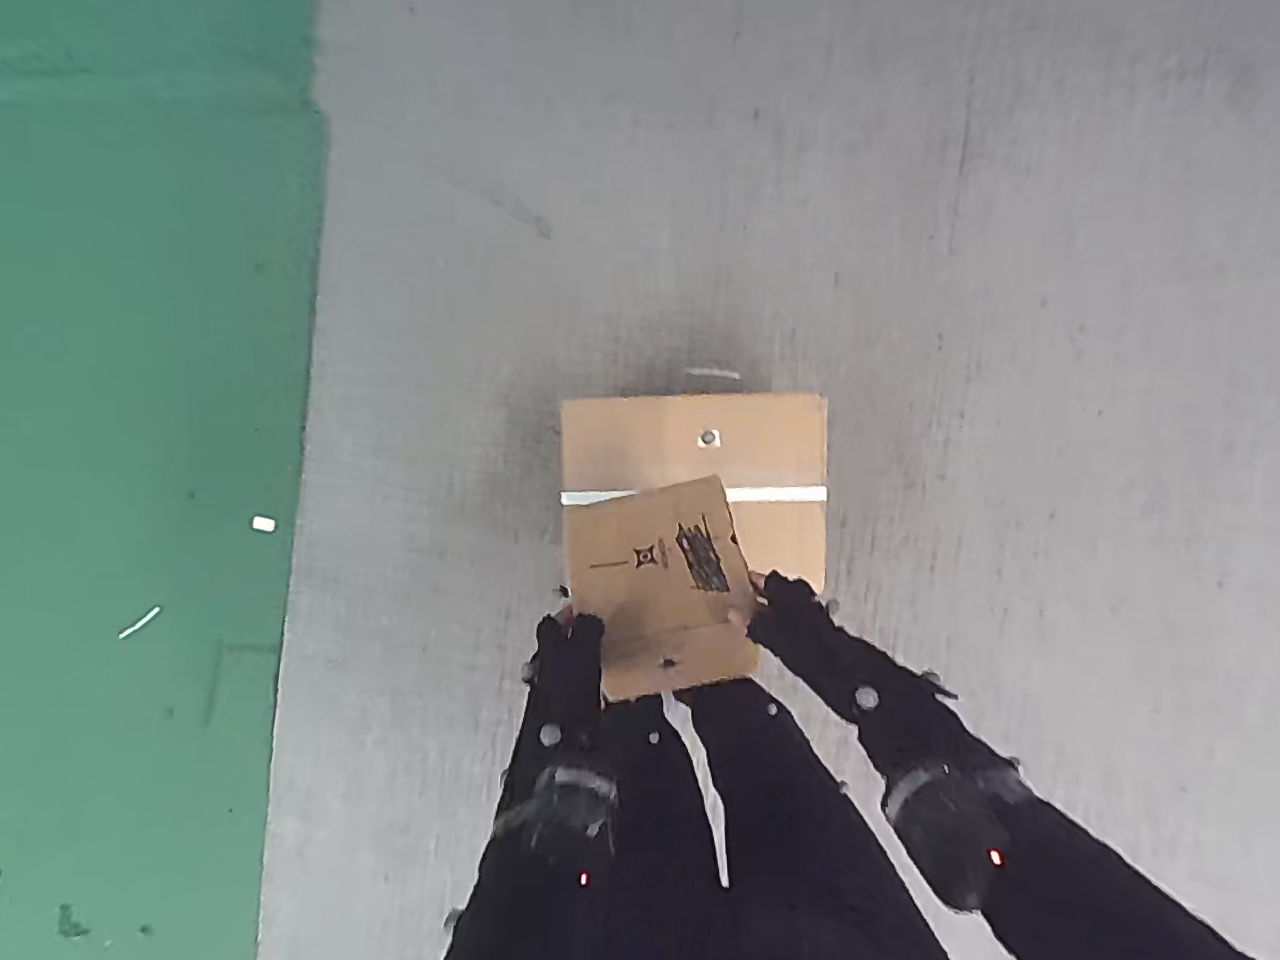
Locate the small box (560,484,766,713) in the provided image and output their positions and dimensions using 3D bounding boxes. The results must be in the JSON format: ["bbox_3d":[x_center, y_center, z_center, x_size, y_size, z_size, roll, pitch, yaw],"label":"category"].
[{"bbox_3d":[0.023,0.134,0.591,0.179,0.176,0.168,-14,51,-1],"label":"small box"}]
